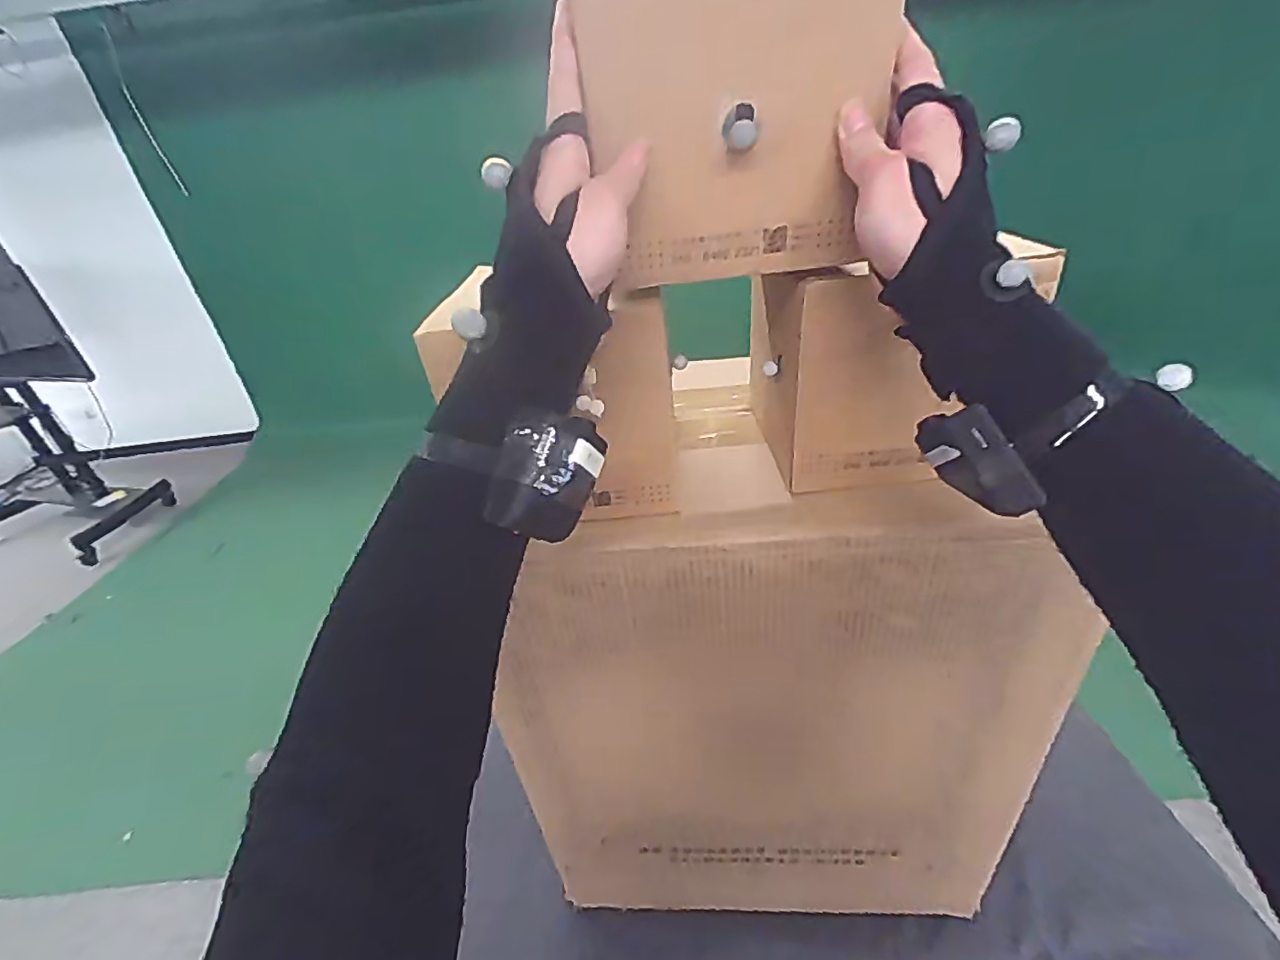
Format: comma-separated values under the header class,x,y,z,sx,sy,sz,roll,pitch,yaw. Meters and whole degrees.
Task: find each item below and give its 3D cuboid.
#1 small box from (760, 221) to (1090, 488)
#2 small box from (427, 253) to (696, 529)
class,x,y,z,sx,sy,sz,roll,pitch,yaw
small box,0.202,-0.104,0.448,0.168,0.176,0.179,-4,33,-1
small box,-0.043,-0.079,0.448,0.168,0.176,0.179,-5,34,7
